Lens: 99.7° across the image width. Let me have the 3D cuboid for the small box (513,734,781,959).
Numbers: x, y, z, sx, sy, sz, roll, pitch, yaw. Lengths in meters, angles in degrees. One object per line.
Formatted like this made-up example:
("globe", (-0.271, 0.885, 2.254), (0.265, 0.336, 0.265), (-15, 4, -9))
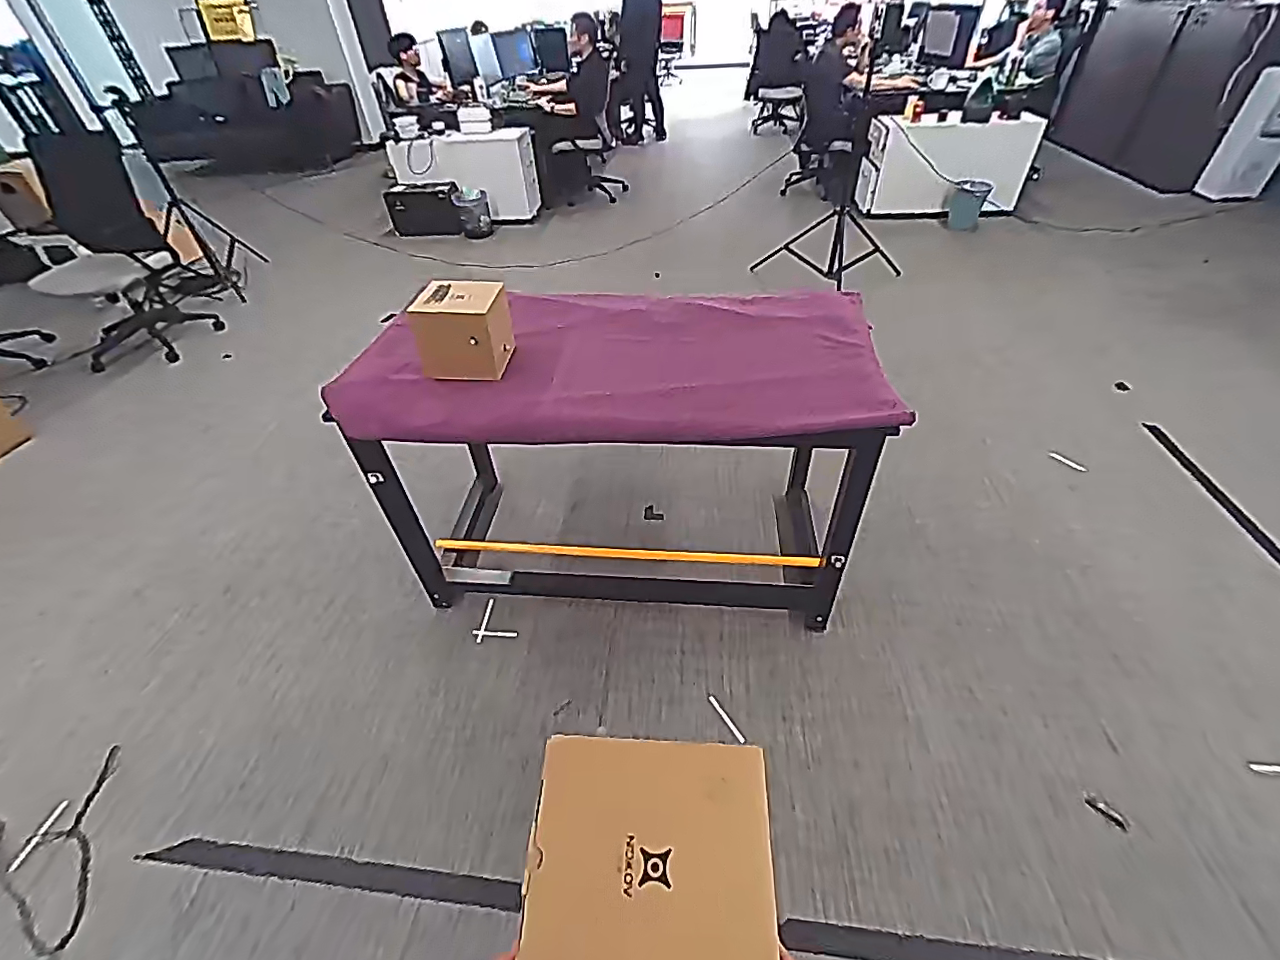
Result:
("small box", (0.012, 0.319, 0.443), (0.179, 0.176, 0.168), (-1, 51, 6))
